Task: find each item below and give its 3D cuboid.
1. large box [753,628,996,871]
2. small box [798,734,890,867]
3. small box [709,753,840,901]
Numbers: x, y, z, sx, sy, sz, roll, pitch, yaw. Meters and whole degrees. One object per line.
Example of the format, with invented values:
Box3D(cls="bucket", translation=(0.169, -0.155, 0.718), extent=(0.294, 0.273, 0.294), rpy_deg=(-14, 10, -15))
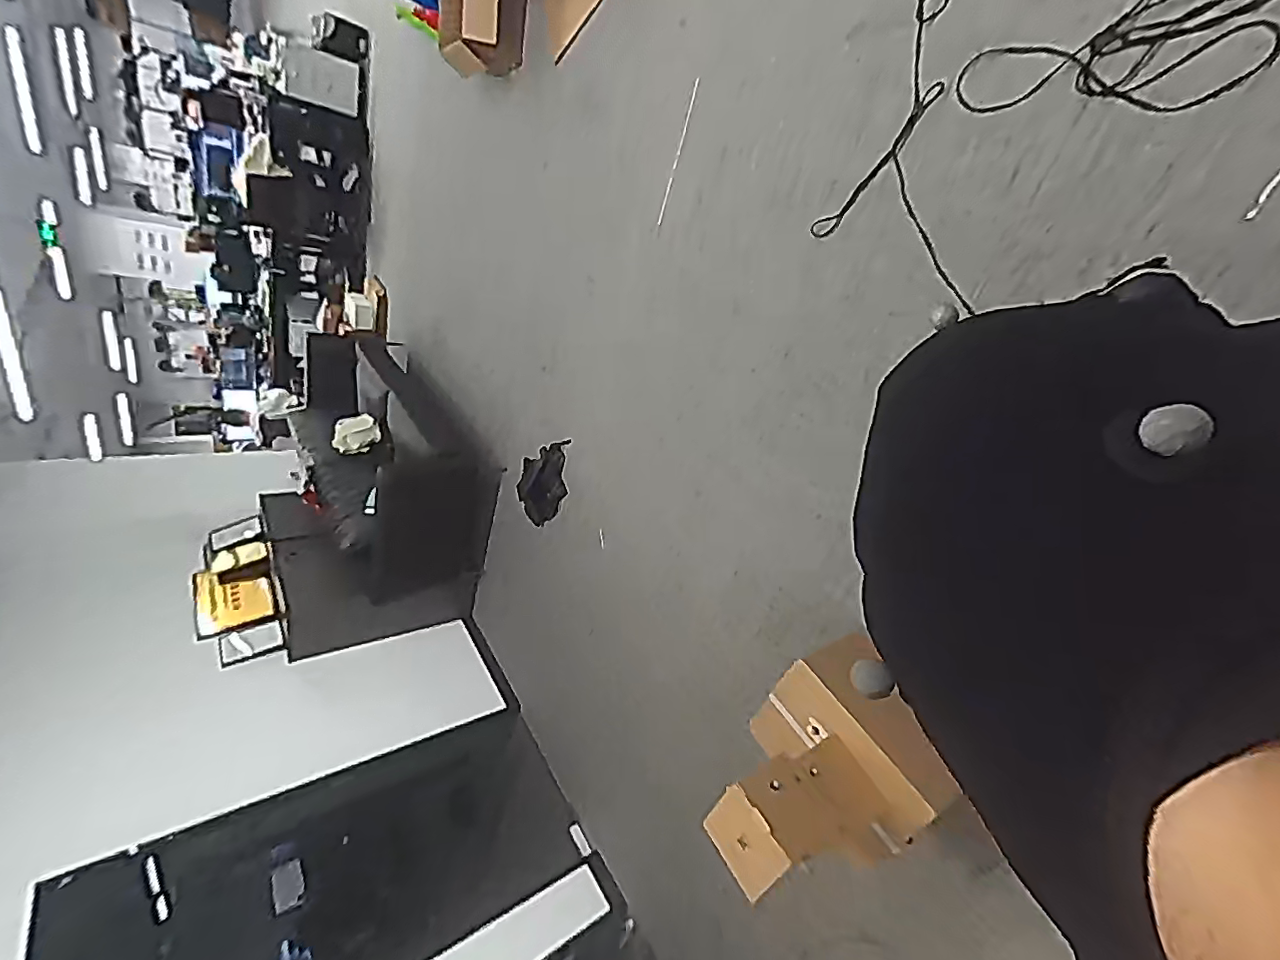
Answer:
Box3D(cls="large box", translation=(0.579, 0.658, 1.378), extent=(0.408, 0.320, 0.320), rpy_deg=(50, 130, 37))
Box3D(cls="small box", translation=(0.412, 0.705, 1.203), extent=(0.179, 0.176, 0.168), rpy_deg=(55, 134, 33))
Box3D(cls="small box", translation=(0.279, 0.700, 1.109), extent=(0.168, 0.176, 0.179), rpy_deg=(48, 131, 39))
